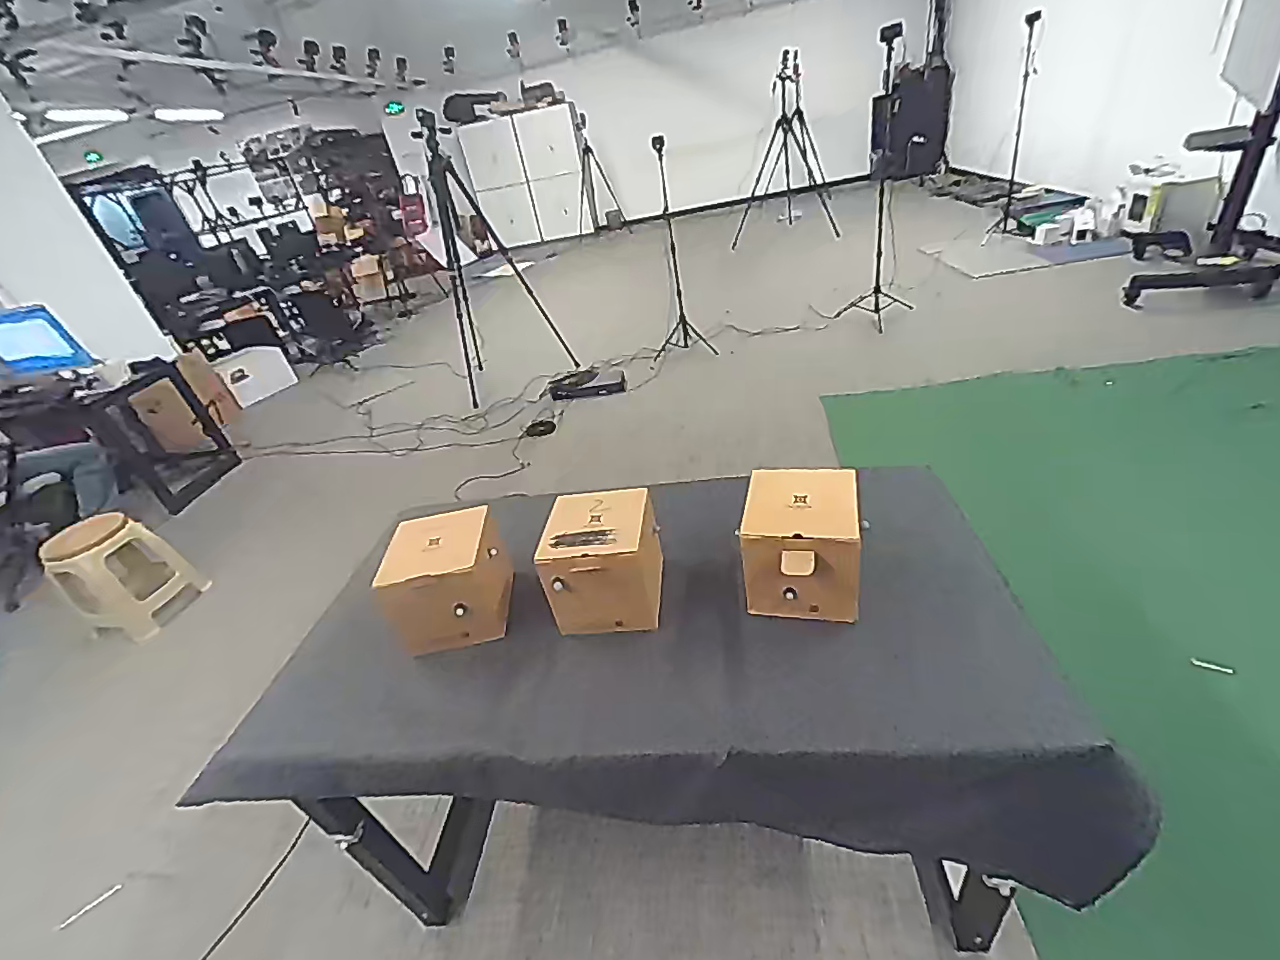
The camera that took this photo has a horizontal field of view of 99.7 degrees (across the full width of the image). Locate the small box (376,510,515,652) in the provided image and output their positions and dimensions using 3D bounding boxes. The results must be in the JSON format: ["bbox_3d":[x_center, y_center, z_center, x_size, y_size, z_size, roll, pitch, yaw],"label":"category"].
[{"bbox_3d":[-0.328,0.182,0.956,0.168,0.176,0.179,-11,31,0],"label":"small box"}]

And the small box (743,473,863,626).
[{"bbox_3d":[0.264,0.106,0.870,0.168,0.176,0.179,0,35,19],"label":"small box"}]
